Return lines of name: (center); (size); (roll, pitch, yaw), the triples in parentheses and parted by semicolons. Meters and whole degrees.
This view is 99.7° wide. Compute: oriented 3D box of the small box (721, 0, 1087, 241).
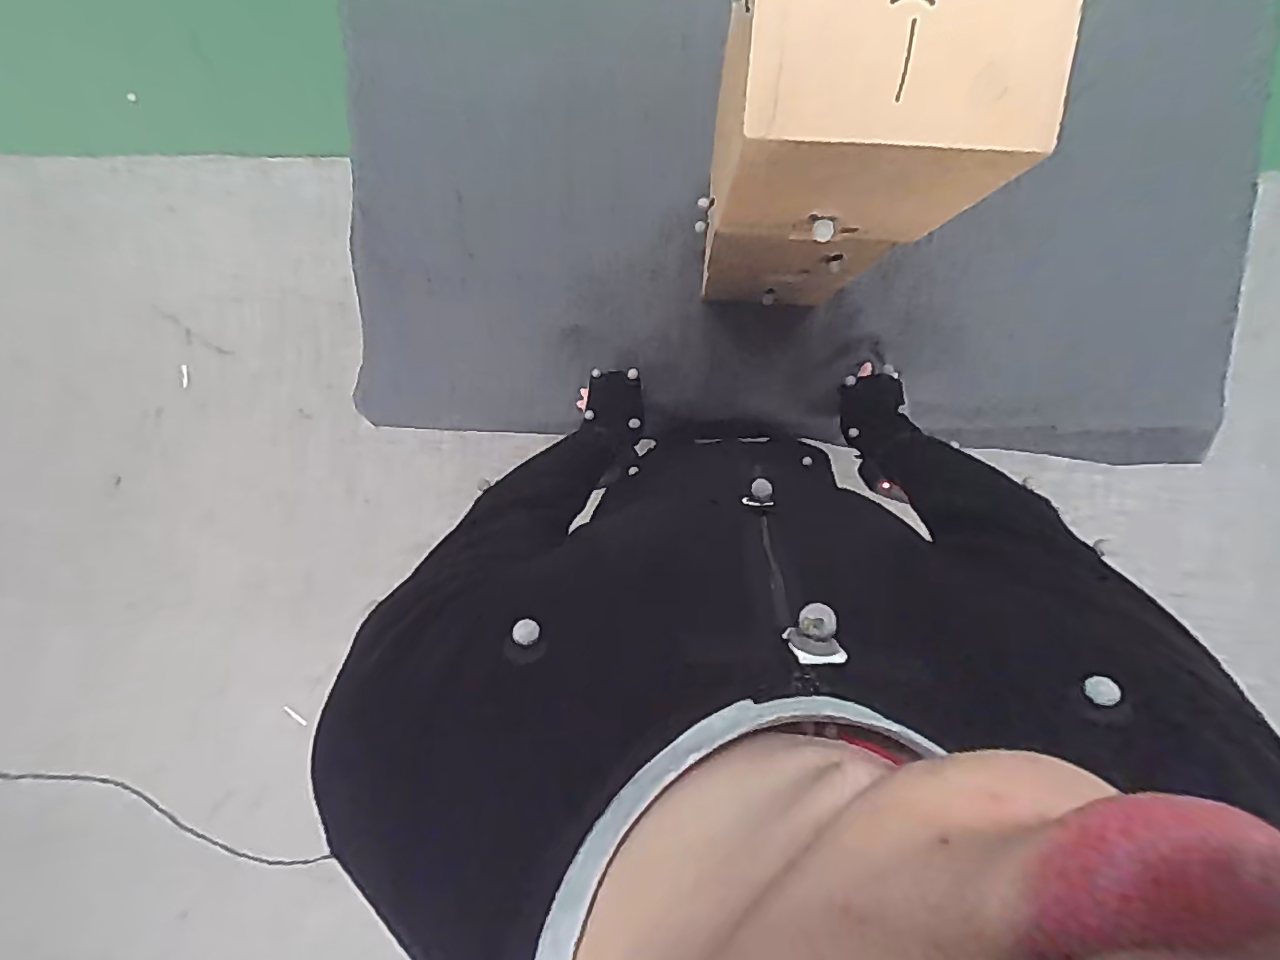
small box: (0.146, -0.273, 0.349); (0.168, 0.176, 0.179); (5, 101, 3)

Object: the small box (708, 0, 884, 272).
small box: (0.155, -0.304, 0.510); (0.168, 0.176, 0.179); (3, 98, 3)

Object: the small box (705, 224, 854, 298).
small box: (0.171, -0.330, 0.670); (0.168, 0.176, 0.179); (4, 100, 4)
